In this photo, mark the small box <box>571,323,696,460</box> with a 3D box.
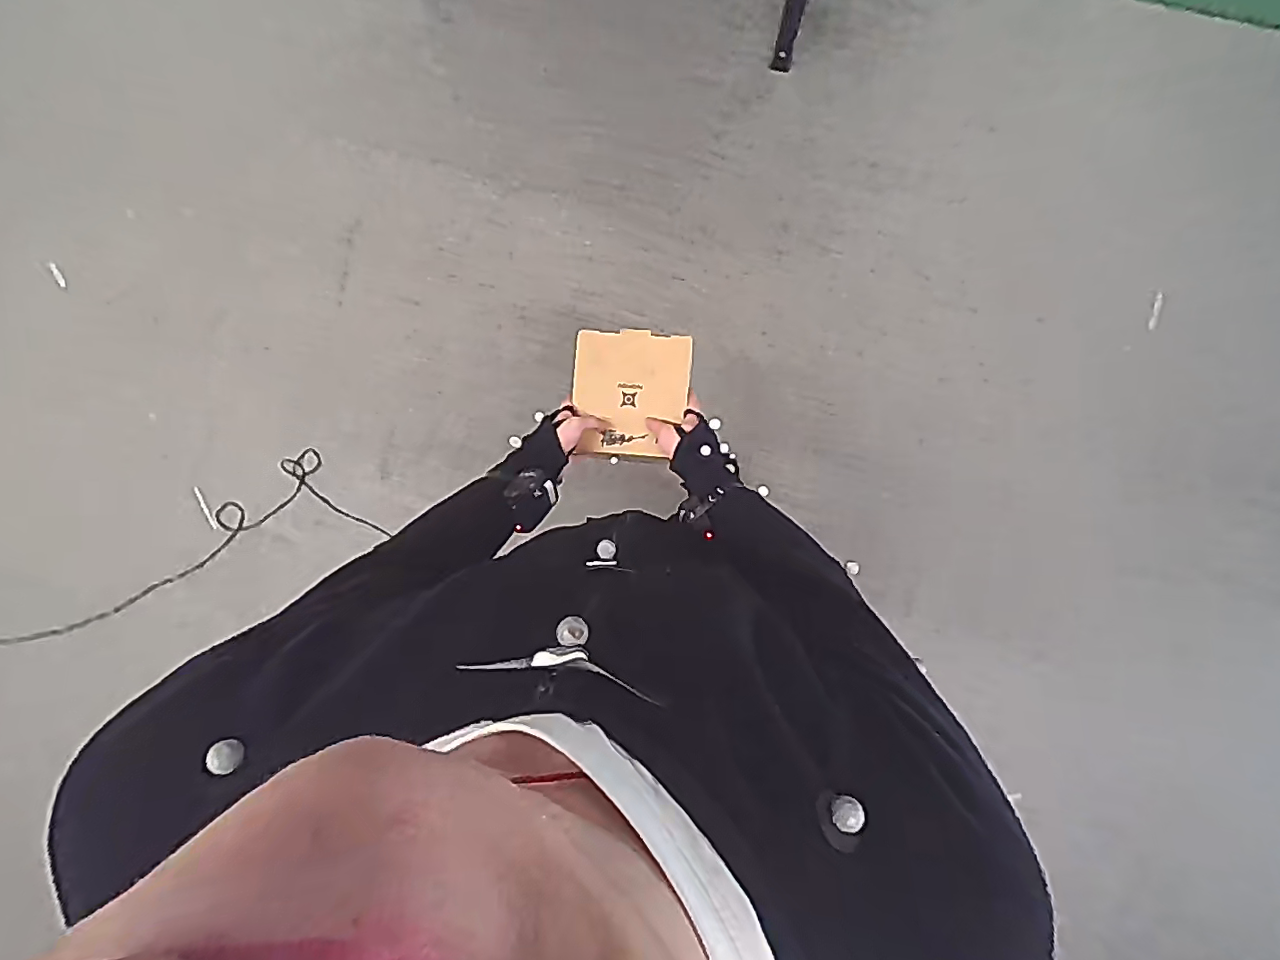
[{"bbox_3d":[-0.005,-0.128,0.843,0.168,0.176,0.179,5,90,4],"label":"small box"}]
